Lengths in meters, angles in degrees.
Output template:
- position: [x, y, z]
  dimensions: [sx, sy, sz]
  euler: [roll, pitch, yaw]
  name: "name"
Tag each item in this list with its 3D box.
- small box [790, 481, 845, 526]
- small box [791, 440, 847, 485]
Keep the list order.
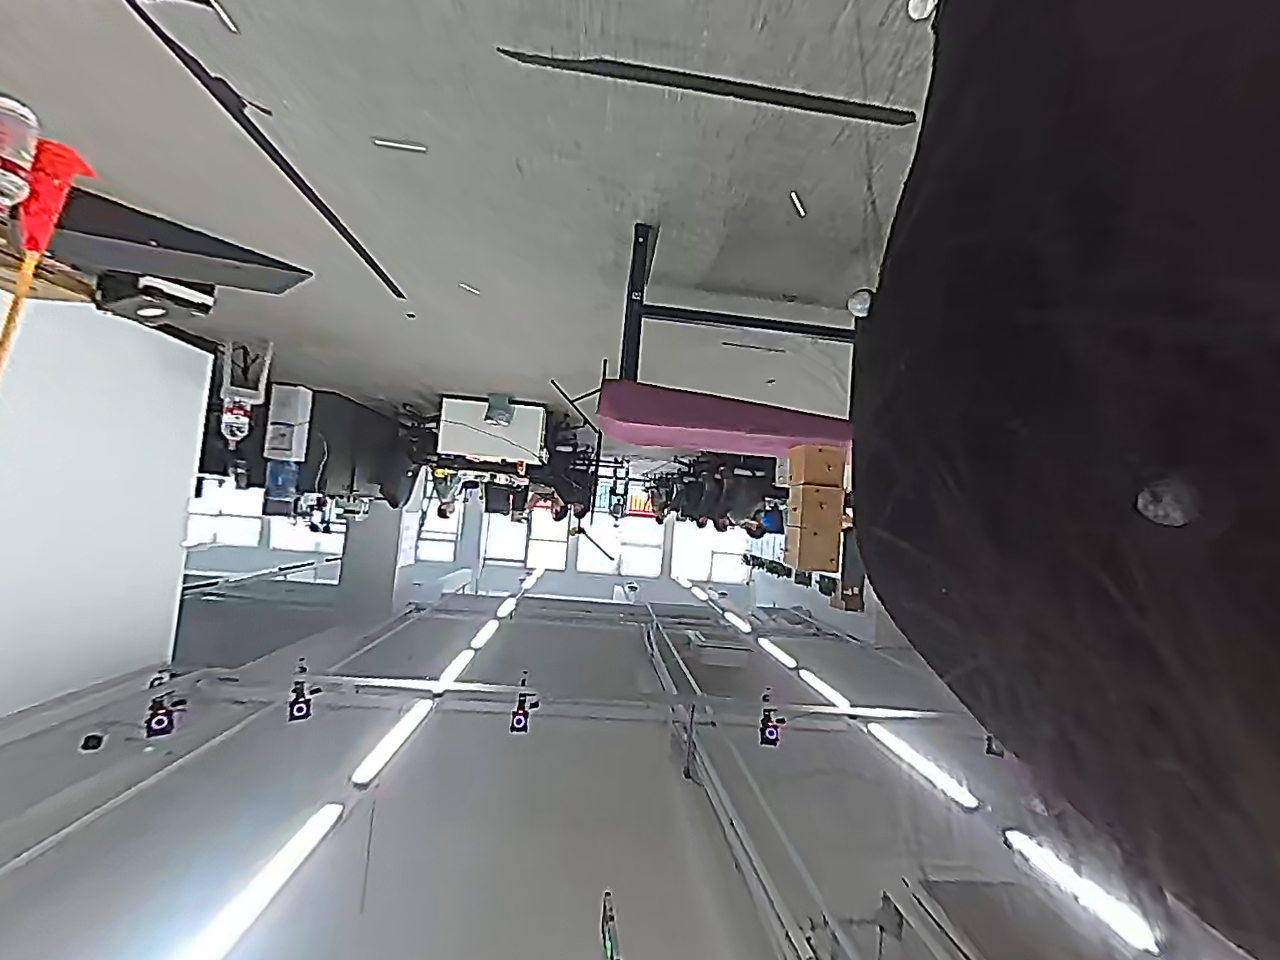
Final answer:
- position: [0.708, 0.094, 2.157]
  dimensions: [0.168, 0.176, 0.179]
  euler: [5, 177, 0]
  name: "small box"
- position: [0.723, -0.067, 2.187]
  dimensions: [0.168, 0.176, 0.179]
  euler: [5, 177, -4]
  name: "small box"
